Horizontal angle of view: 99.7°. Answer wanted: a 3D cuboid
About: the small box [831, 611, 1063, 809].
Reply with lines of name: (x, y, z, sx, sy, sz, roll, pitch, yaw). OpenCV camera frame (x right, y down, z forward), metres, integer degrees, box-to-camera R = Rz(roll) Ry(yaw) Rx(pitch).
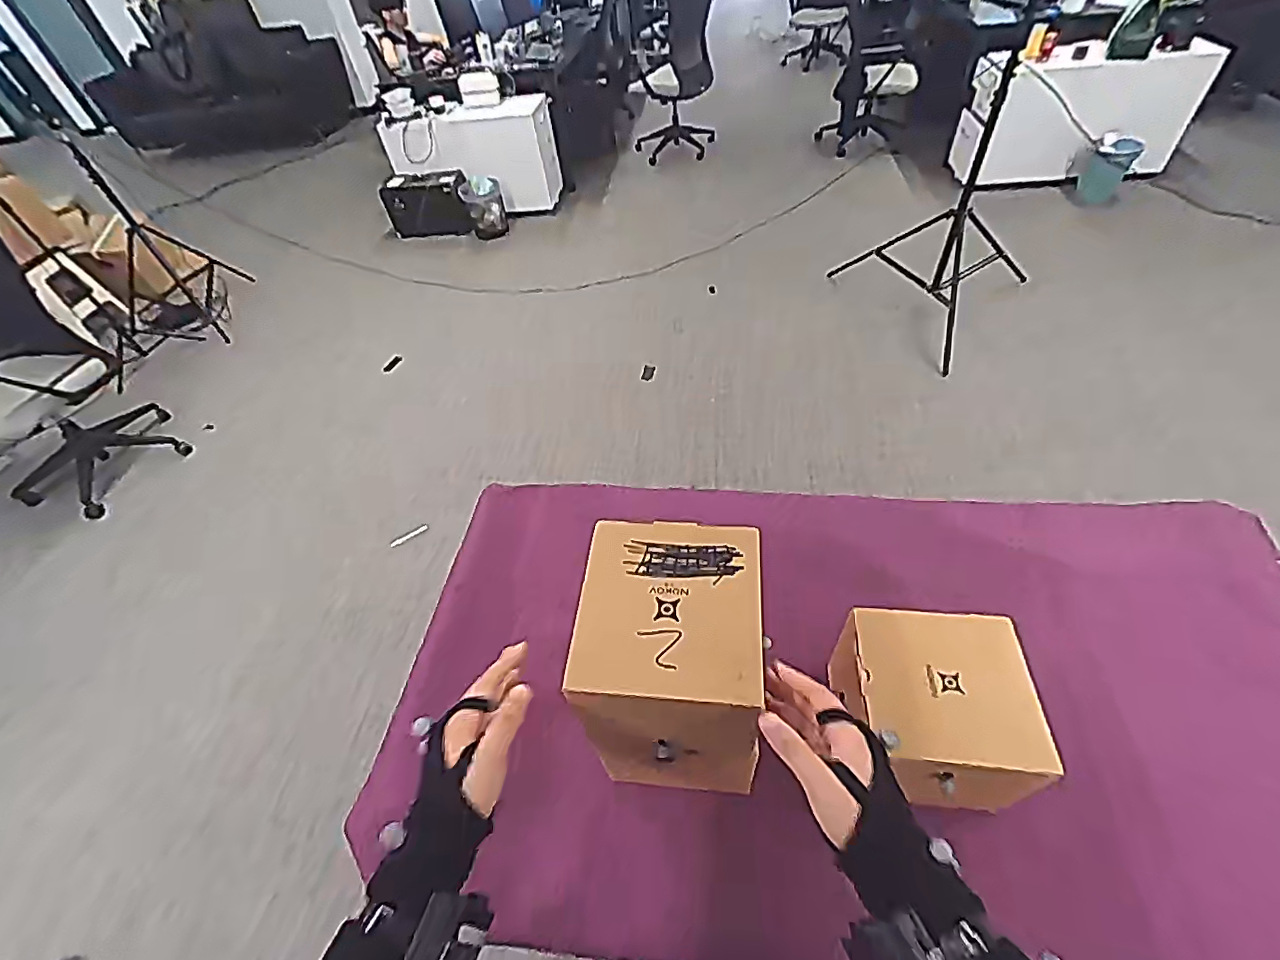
small box: (0.336, 0.273, 0.637, 0.179, 0.176, 0.168, 1, 48, 9)

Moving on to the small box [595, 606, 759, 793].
small box: (0.053, 0.274, 0.672, 0.179, 0.176, 0.168, 1, 49, 8)
